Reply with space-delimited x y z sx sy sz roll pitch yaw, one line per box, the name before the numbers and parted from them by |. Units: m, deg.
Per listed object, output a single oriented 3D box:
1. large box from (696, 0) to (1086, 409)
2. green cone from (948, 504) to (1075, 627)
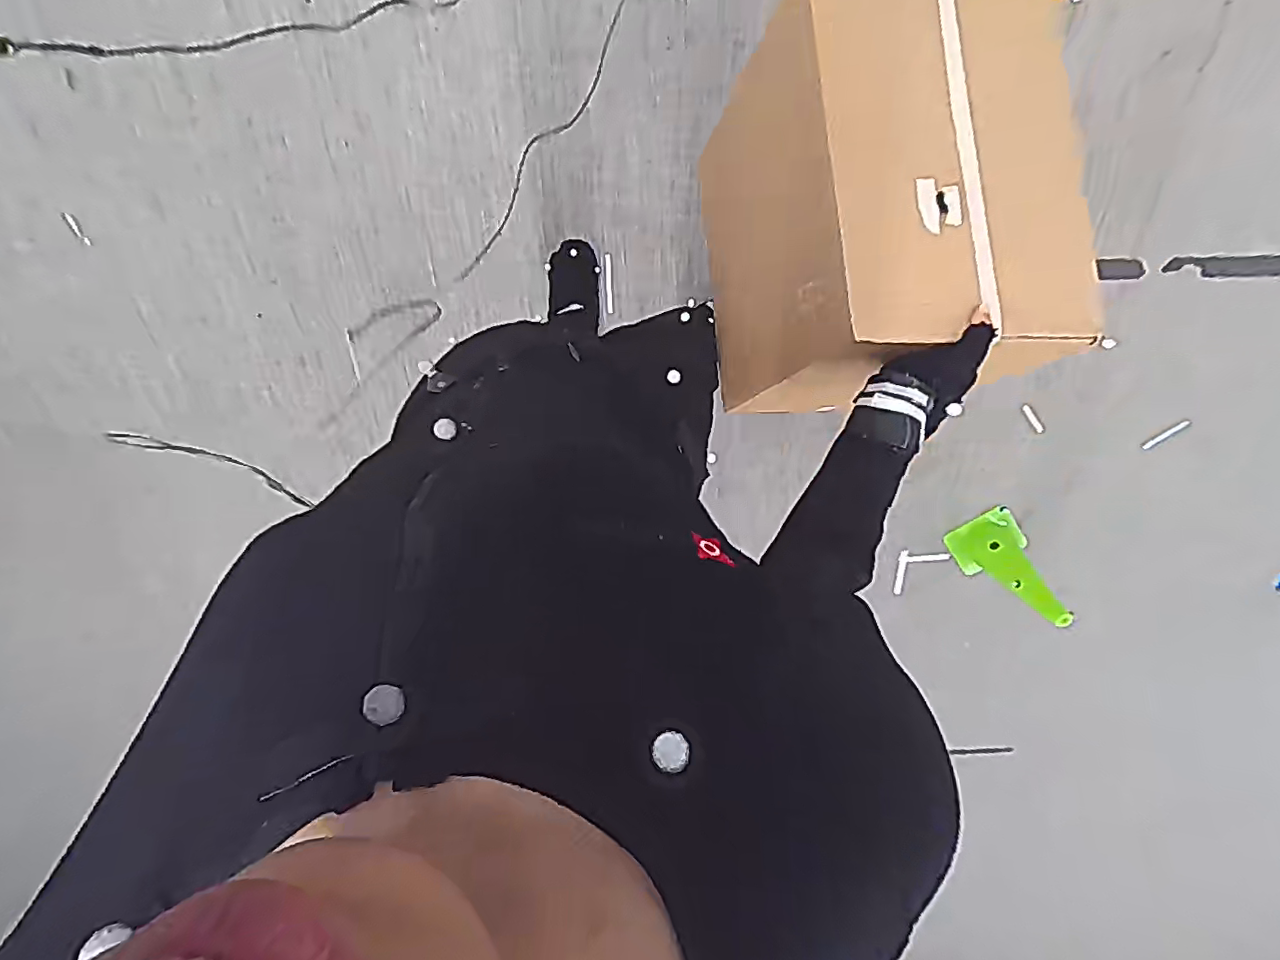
large box | 0.285 -0.322 0.703 0.320 0.320 0.408 -4 87 -15
green cone | 1.083 0.269 1.533 0.200 0.368 0.202 -36 115 18
